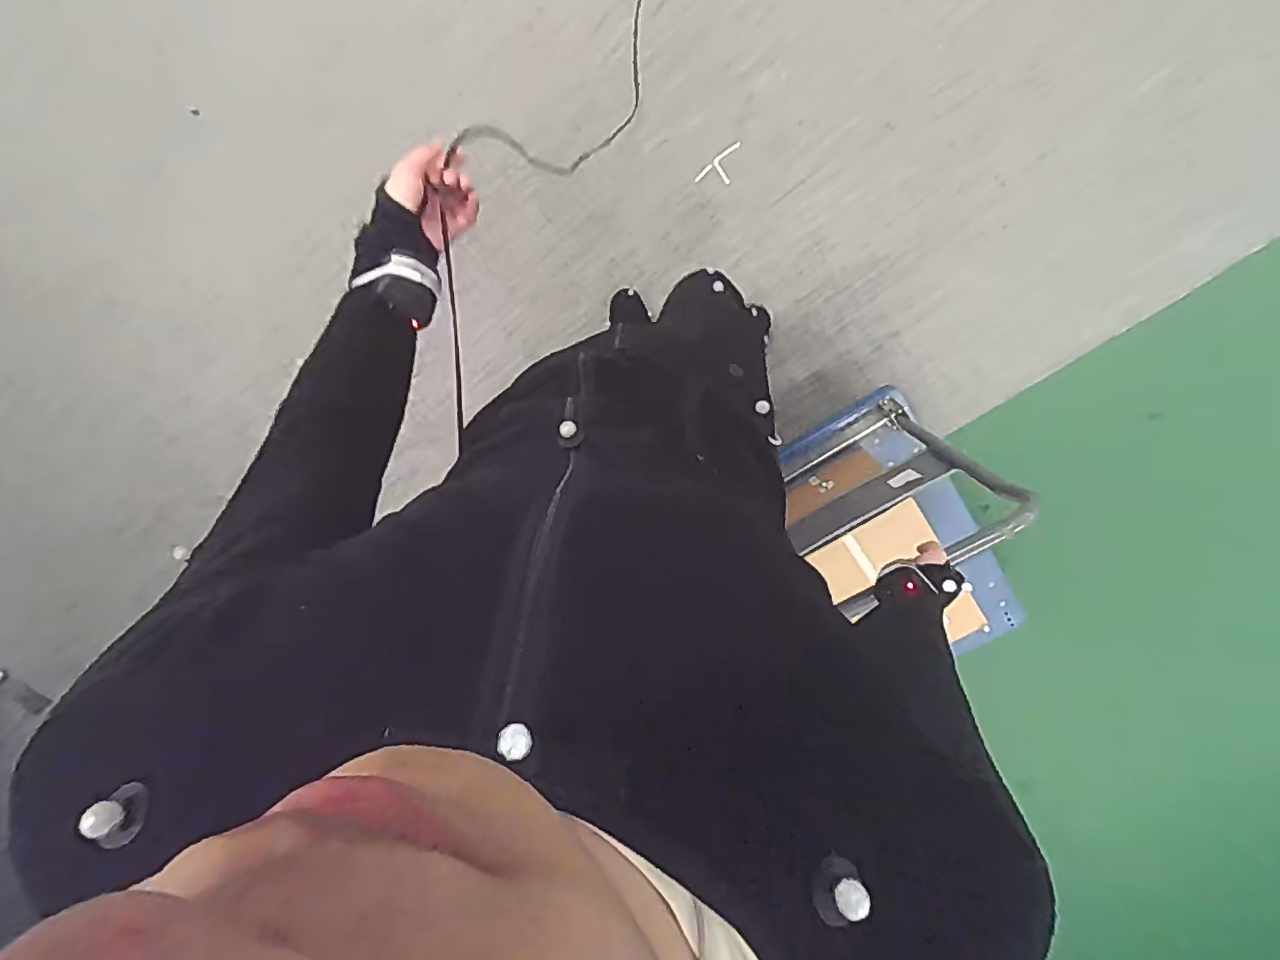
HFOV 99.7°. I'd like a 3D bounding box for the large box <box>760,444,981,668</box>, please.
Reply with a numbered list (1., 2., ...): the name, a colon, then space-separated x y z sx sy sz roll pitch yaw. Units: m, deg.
1. large box: 0.563 0.183 1.382 0.320 0.320 0.408 -33 108 16
